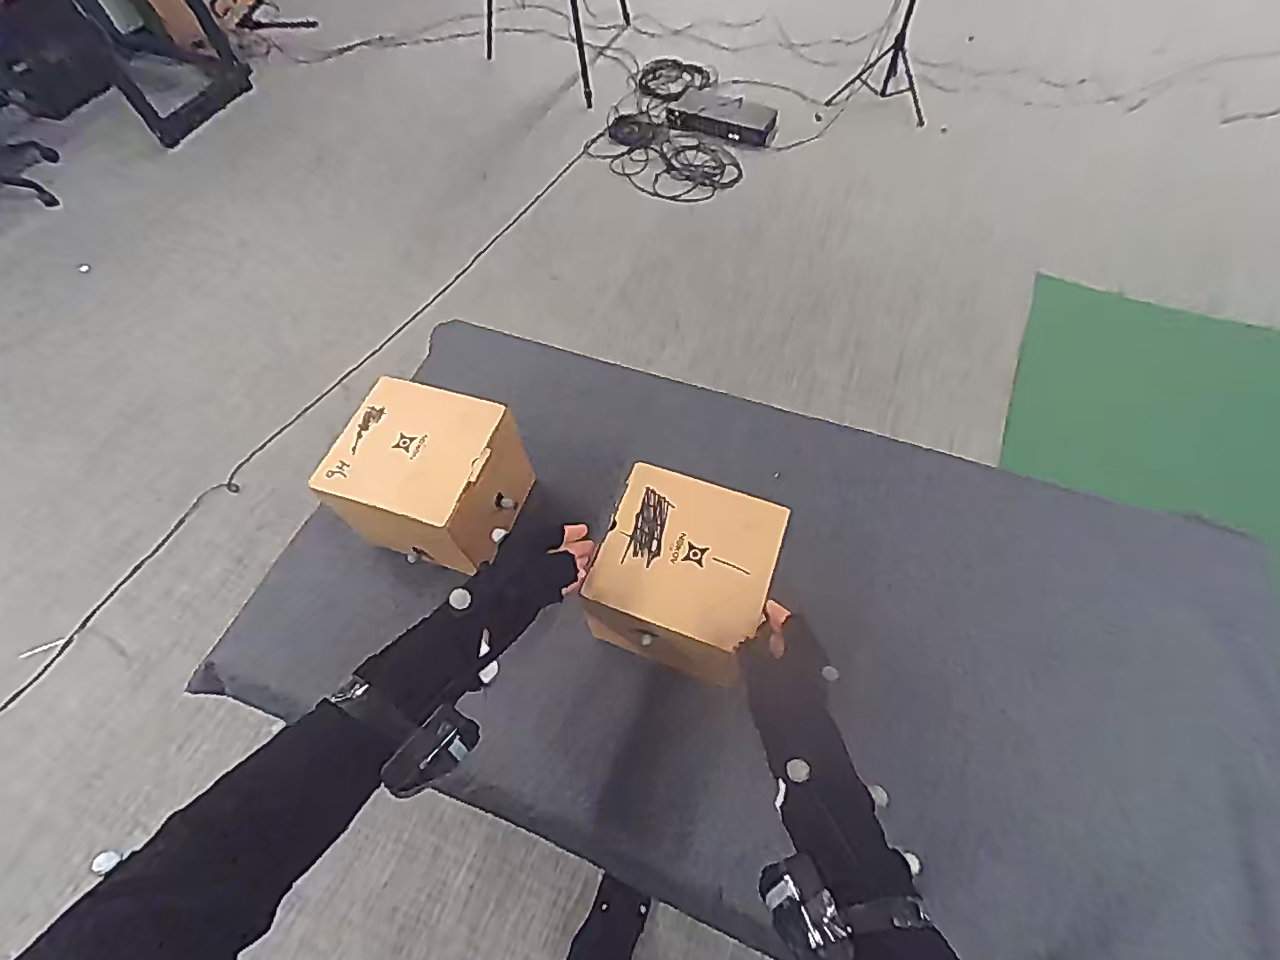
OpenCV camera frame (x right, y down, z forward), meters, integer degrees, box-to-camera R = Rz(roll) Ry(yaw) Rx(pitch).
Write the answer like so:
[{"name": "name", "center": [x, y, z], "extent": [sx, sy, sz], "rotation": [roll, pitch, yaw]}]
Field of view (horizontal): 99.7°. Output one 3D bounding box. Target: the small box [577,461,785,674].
[{"name": "small box", "center": [0.047, 0.108, 0.625], "extent": [0.179, 0.176, 0.168], "rotation": [18, 63, 10]}]

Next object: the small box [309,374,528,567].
[{"name": "small box", "center": [-0.261, -0.003, 0.693], "extent": [0.179, 0.176, 0.168], "rotation": [16, 63, 9]}]
